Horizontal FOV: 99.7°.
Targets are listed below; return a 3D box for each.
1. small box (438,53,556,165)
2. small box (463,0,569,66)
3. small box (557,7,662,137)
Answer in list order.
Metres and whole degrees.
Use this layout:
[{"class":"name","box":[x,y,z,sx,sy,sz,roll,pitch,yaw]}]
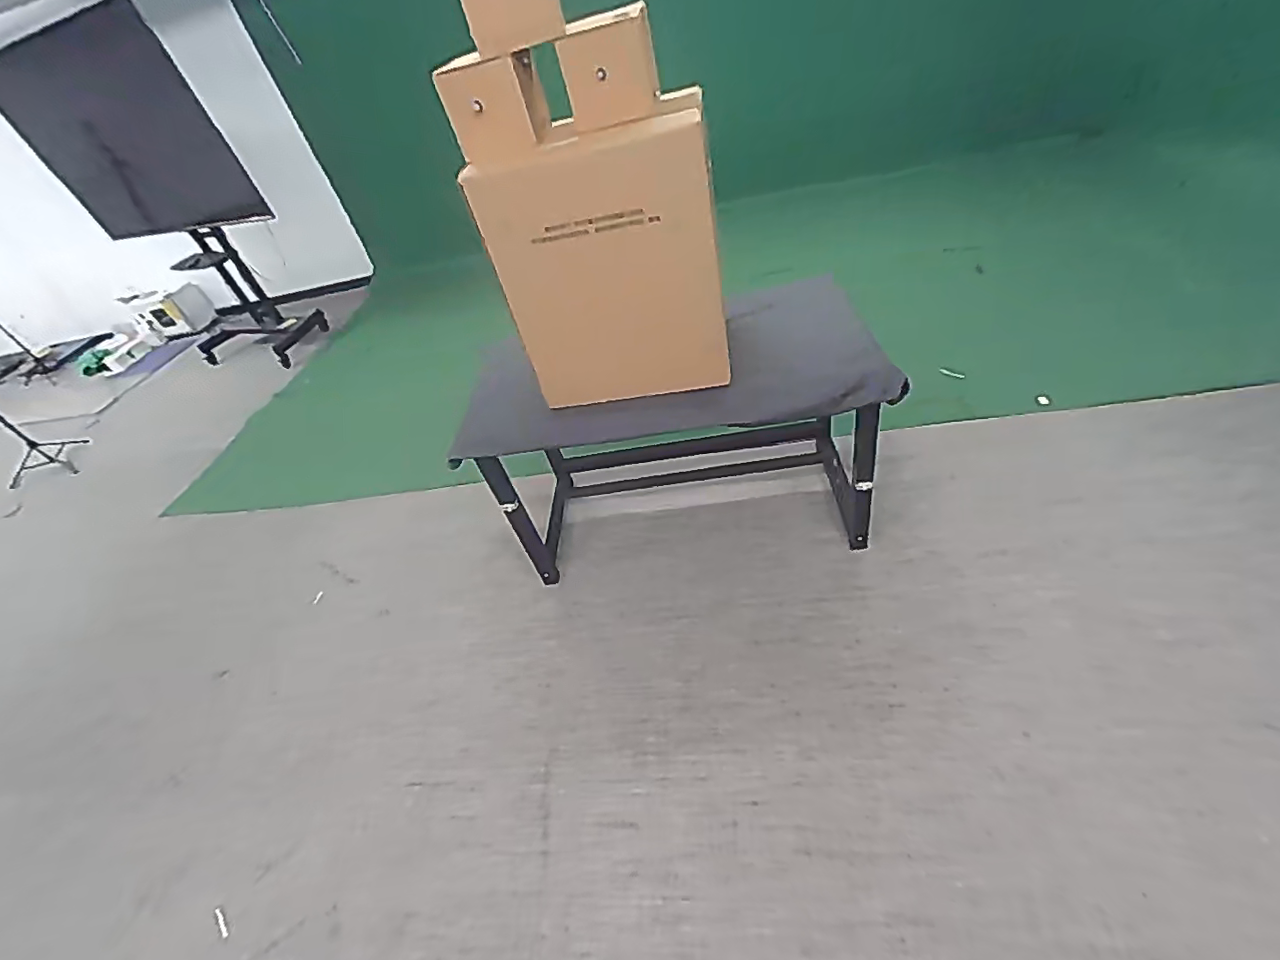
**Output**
[{"class":"small box","box":[-0.306,-0.822,1.195,0.179,0.176,0.168,-5,47,13]},{"class":"small box","box":[-0.246,-0.947,1.065,0.179,0.176,0.168,-14,44,6]},{"class":"small box","box":[-0.055,-0.867,1.156,0.179,0.176,0.168,-6,47,14]}]
